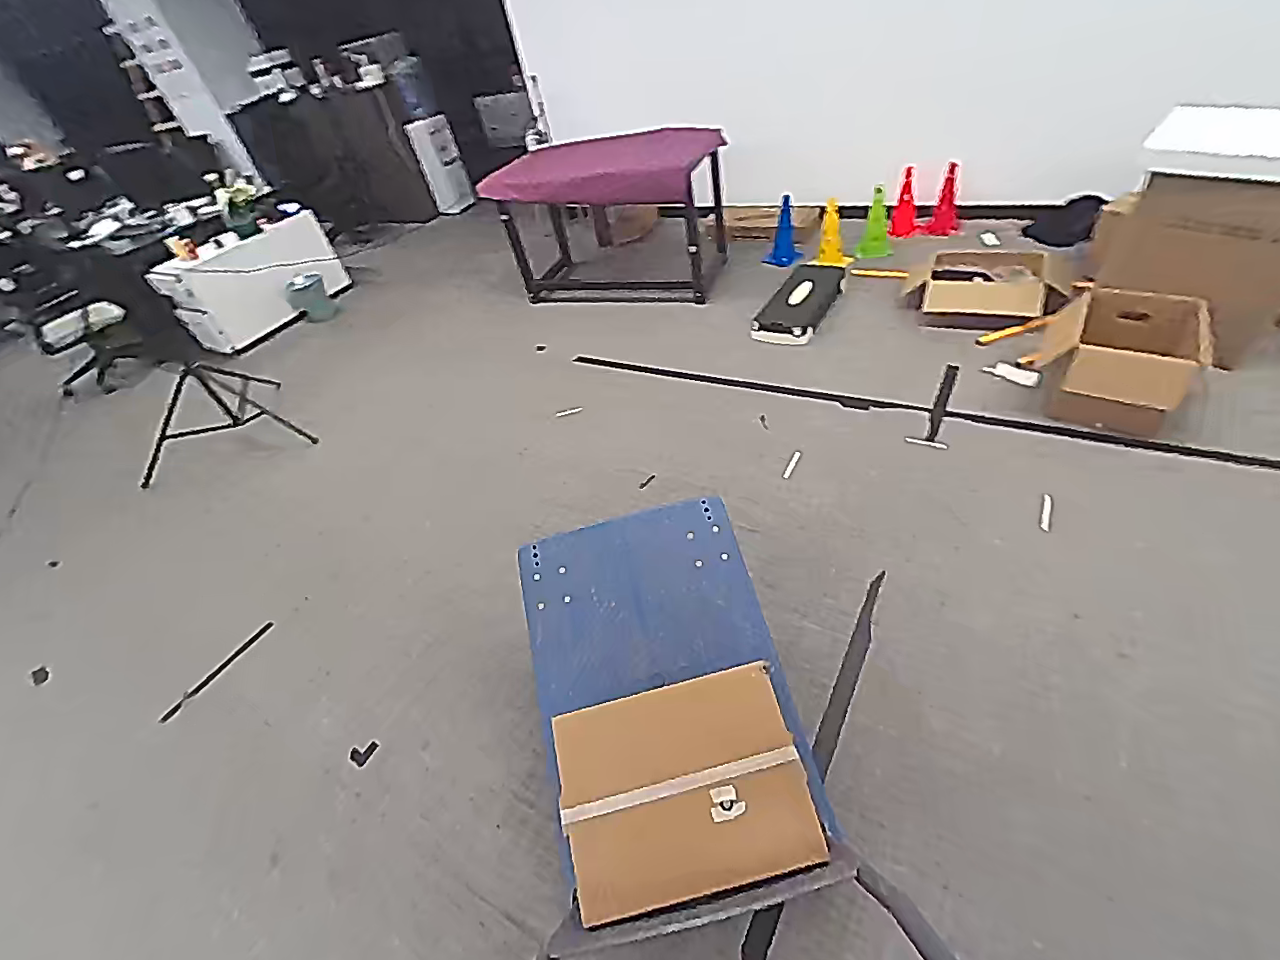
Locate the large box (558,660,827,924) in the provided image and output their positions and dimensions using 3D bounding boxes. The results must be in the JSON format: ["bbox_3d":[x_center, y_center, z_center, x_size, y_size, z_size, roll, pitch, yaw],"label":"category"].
[{"bbox_3d":[0.088,0.590,1.061,0.408,0.320,0.320,-15,62,-2],"label":"large box"}]
